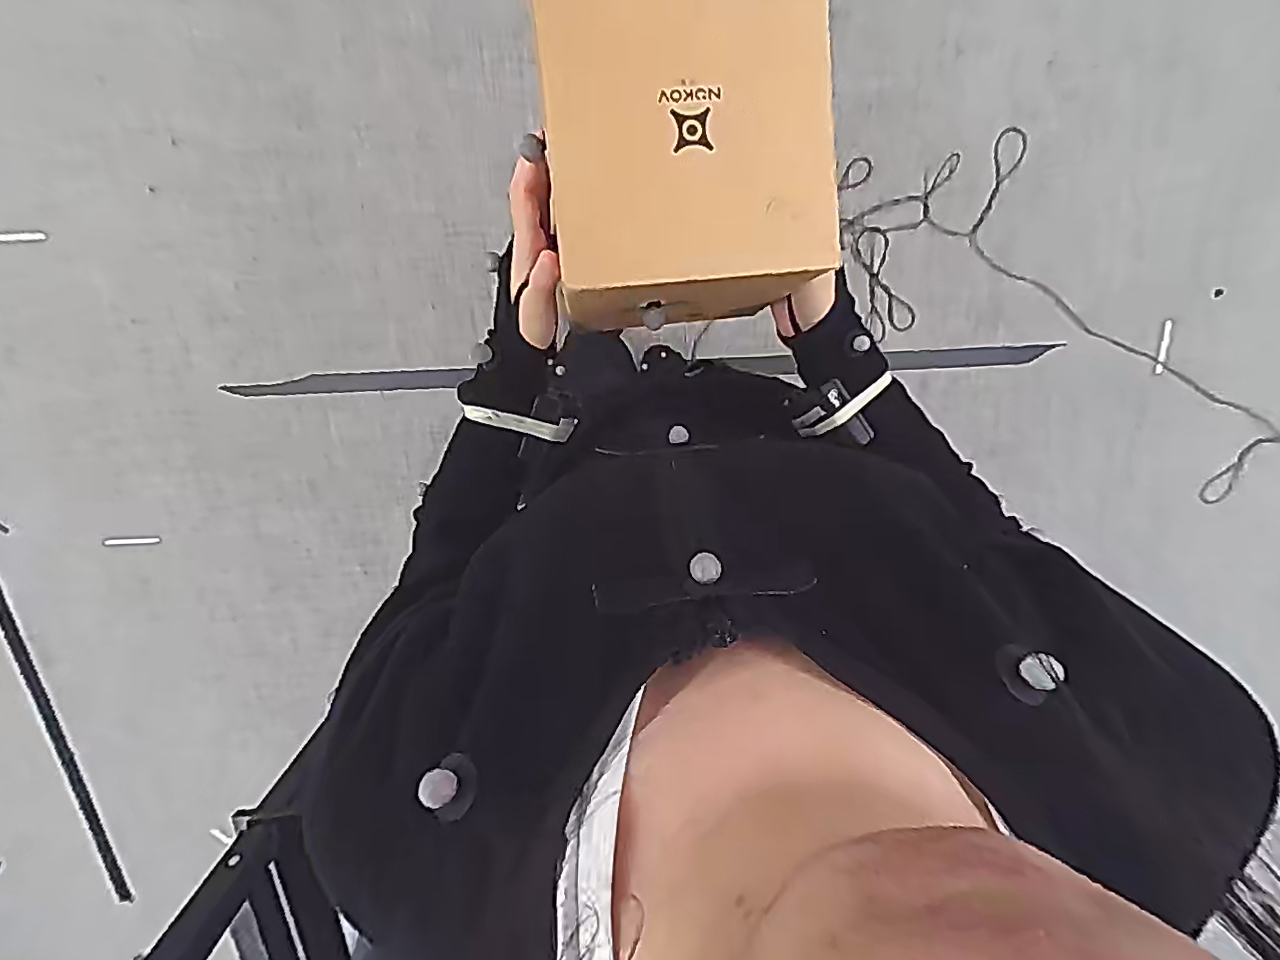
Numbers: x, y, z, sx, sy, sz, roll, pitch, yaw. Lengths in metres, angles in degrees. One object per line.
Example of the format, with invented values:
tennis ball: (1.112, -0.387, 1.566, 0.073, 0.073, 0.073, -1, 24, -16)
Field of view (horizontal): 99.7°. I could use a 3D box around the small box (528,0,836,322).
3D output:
small box: (0.021, -0.214, 0.382, 0.168, 0.176, 0.179, -7, 97, -4)
